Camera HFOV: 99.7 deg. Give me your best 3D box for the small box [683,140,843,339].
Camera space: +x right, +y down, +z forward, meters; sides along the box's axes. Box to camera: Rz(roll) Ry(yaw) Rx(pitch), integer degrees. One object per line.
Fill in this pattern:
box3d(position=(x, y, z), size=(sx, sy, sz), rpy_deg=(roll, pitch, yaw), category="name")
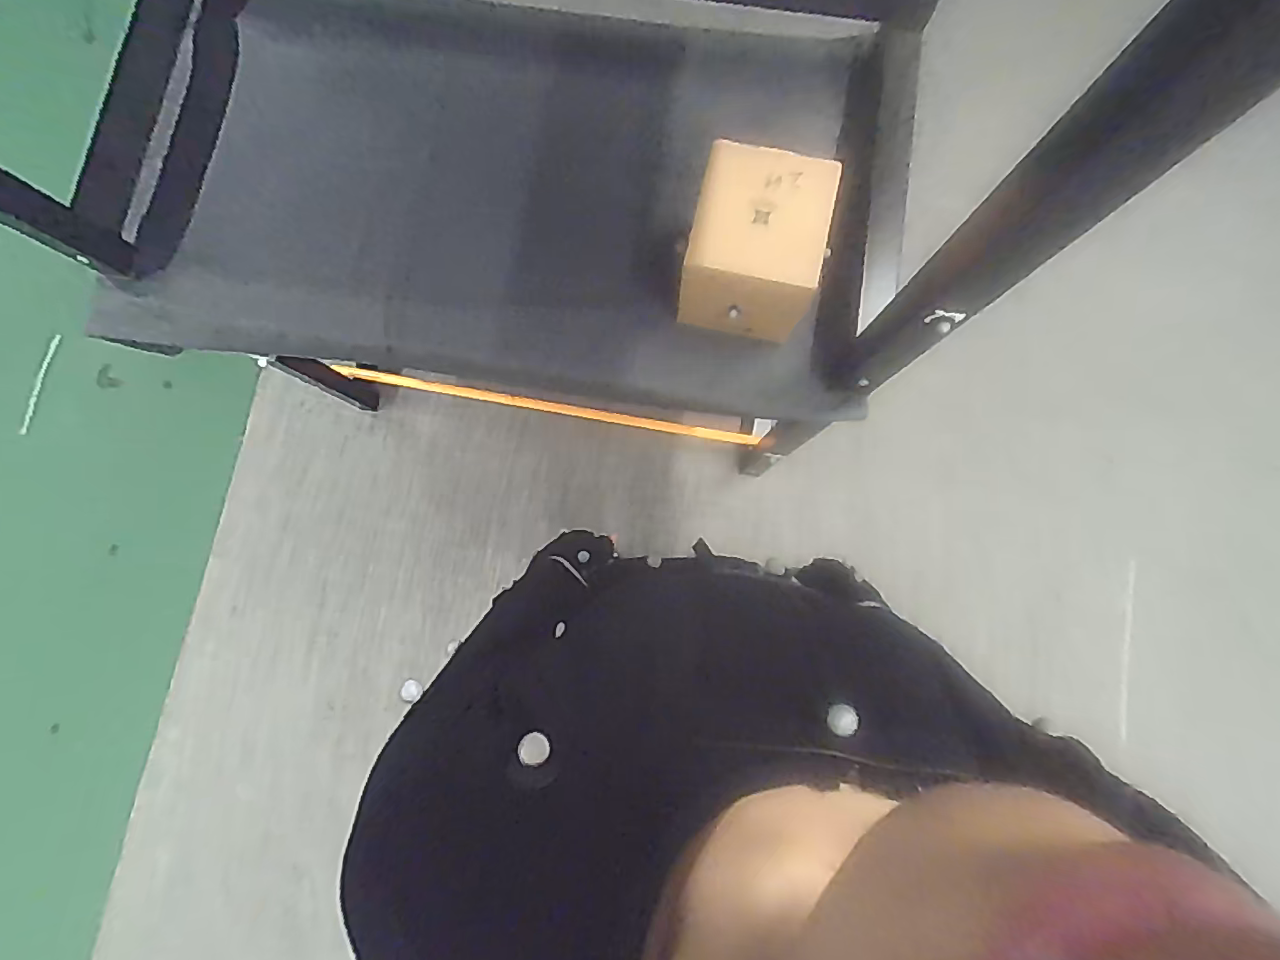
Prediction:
box3d(position=(0.157, -0.317, 0.746), size=(0.168, 0.176, 0.179), rpy_deg=(13, 82, 3), category="small box")
